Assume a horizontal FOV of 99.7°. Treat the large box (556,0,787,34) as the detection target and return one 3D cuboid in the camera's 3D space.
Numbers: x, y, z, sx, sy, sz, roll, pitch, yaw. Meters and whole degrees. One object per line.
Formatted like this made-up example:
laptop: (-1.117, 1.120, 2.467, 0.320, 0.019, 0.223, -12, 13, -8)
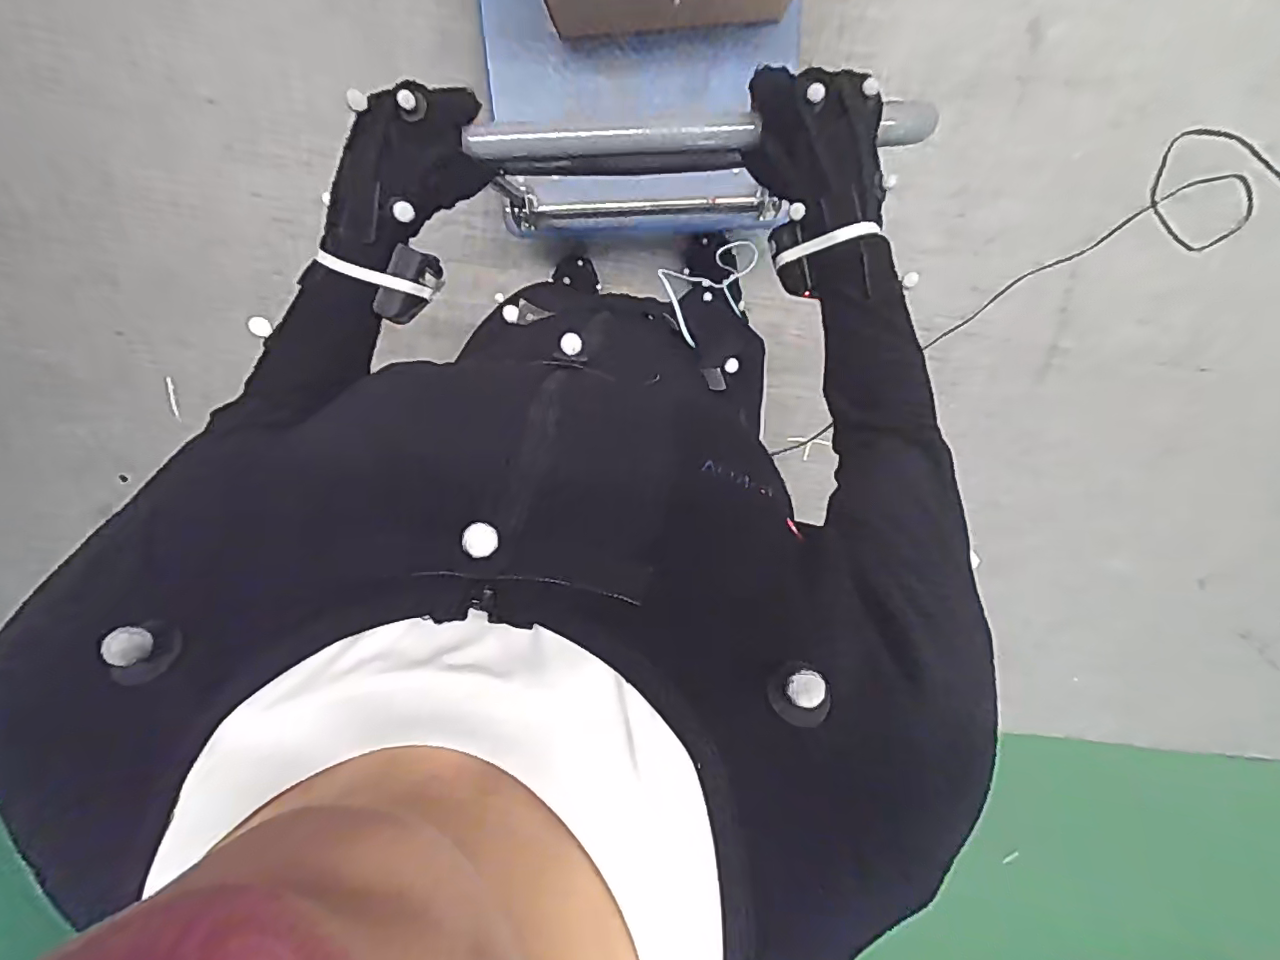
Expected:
large box: (0.050, -0.912, 0.784, 0.408, 0.320, 0.320, -4, 111, 4)
